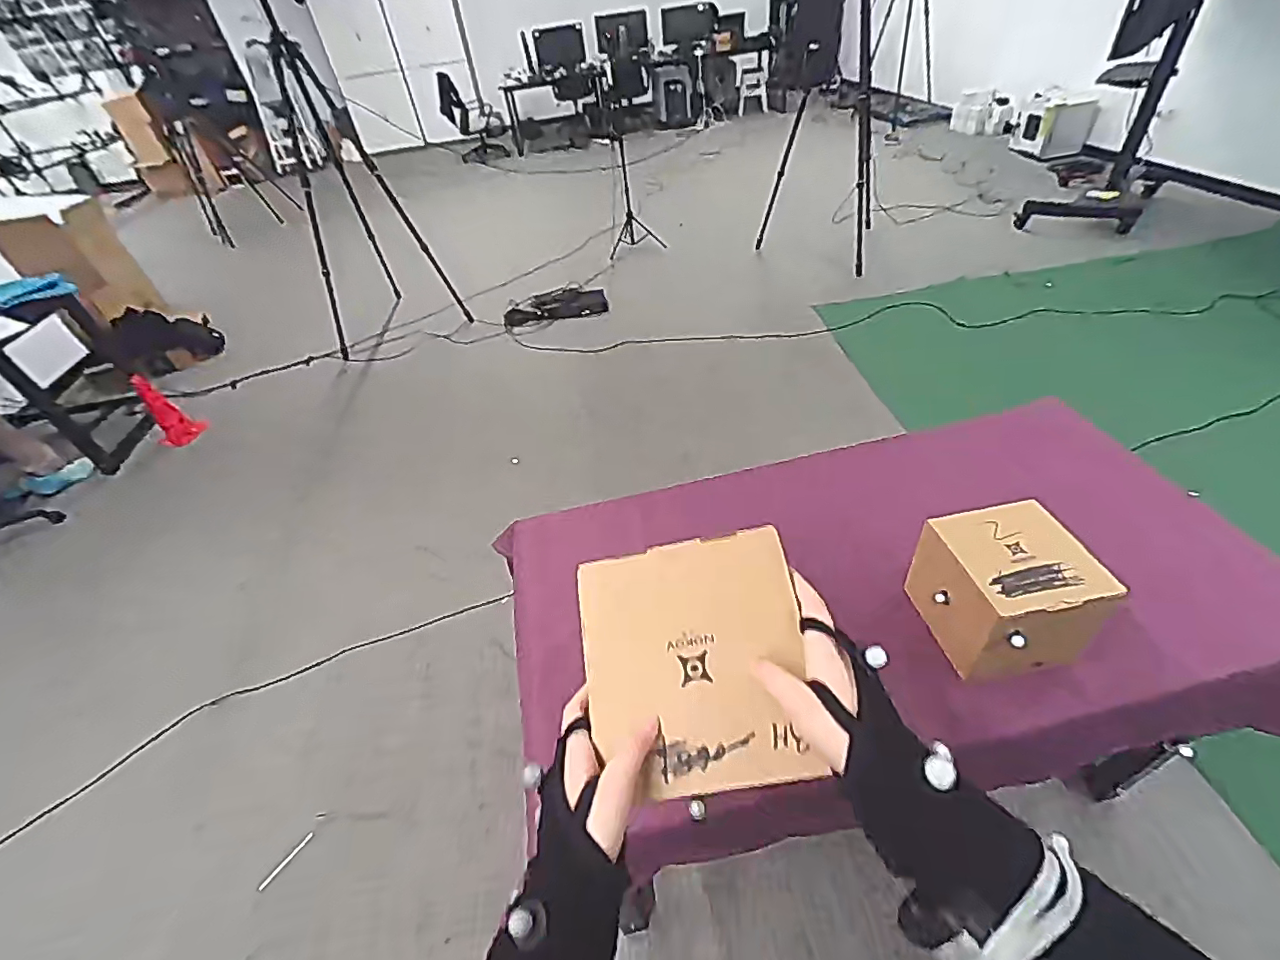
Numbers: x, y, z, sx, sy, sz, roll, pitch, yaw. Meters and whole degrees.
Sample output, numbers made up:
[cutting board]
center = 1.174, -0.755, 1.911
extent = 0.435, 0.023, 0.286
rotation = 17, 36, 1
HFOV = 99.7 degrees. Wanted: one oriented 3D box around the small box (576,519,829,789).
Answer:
[small box]
center = 0.053, 0.159, 0.472
extent = 0.168, 0.176, 0.179
rotation = -14, 61, 8
